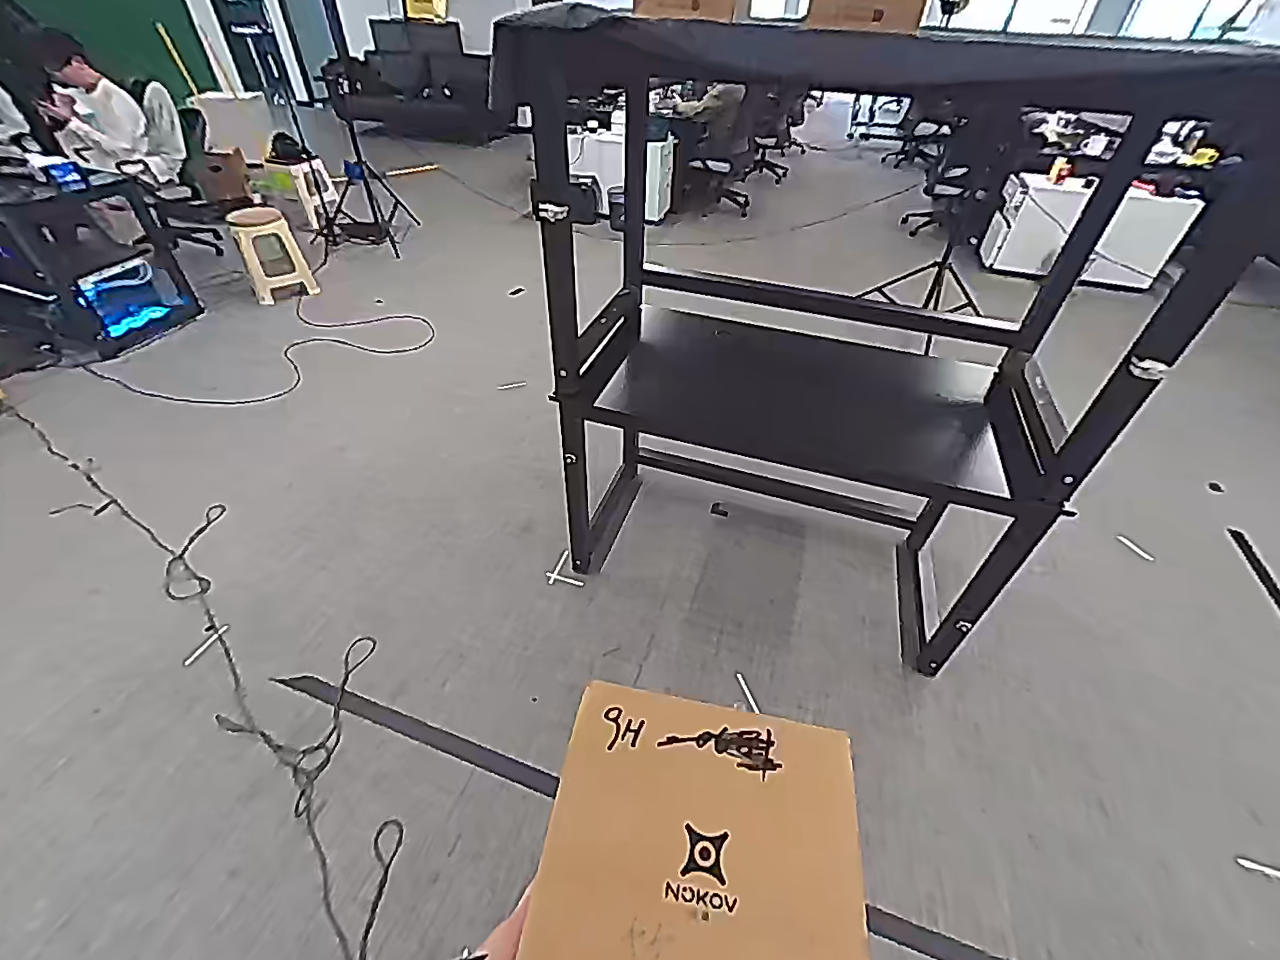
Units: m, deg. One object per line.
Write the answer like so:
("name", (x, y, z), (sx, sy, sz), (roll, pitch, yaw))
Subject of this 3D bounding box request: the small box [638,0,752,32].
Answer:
("small box", (0.099, -0.841, 0.871), (0.168, 0.176, 0.179), (14, 42, 11))

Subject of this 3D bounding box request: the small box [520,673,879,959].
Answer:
("small box", (0.031, 0.249, 0.330), (0.168, 0.176, 0.179), (11, 48, 4))

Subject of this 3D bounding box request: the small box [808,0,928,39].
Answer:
("small box", (0.358, -0.778, 0.810), (0.168, 0.176, 0.179), (14, 41, 13))
